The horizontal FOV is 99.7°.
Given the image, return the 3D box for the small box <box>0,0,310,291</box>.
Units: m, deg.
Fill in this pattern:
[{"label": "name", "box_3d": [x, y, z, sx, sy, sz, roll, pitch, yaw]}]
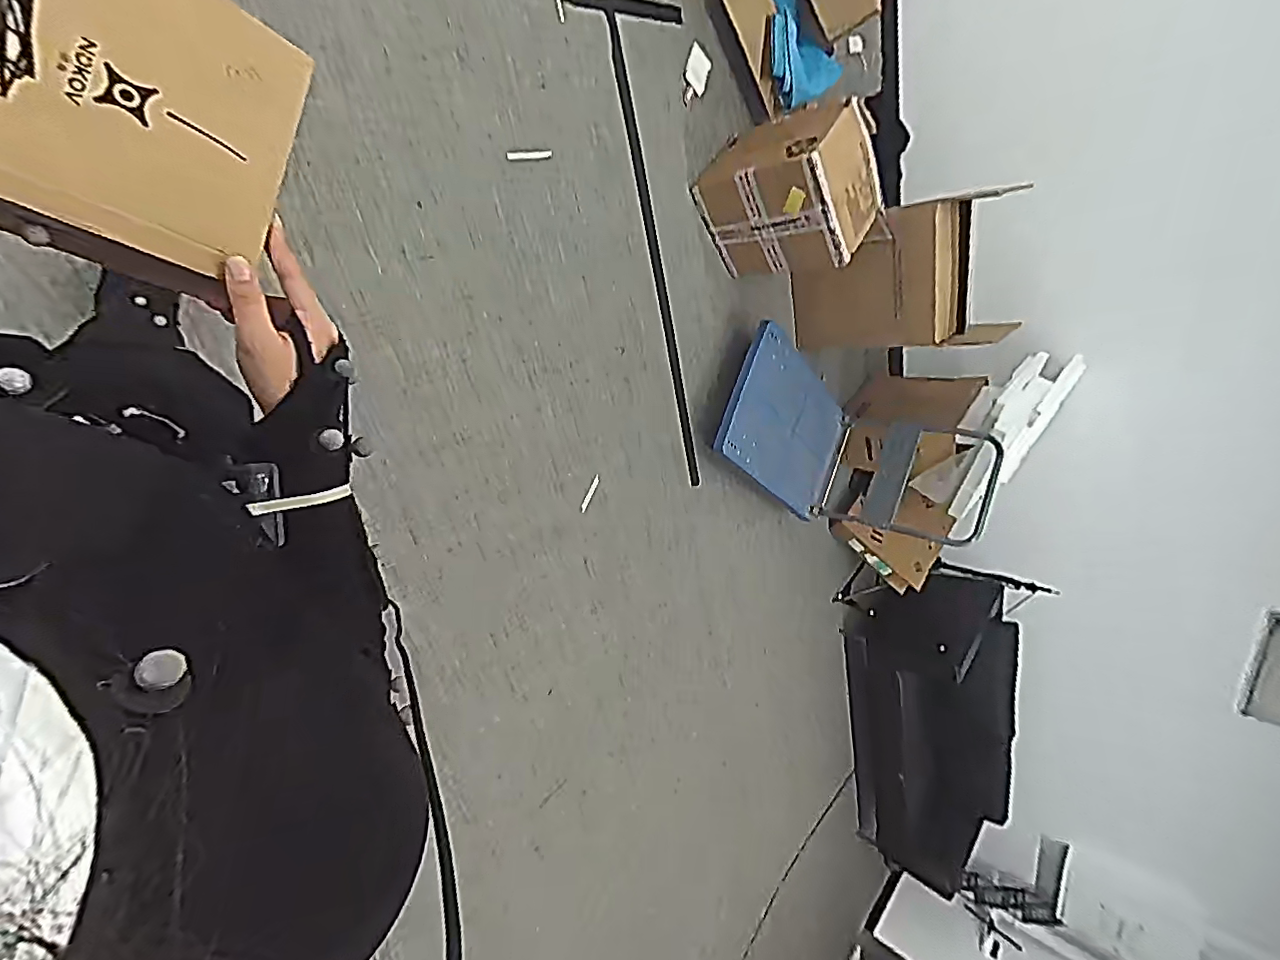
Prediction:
[{"label": "small box", "box_3d": [-0.359, -0.238, 0.360, 0.179, 0.176, 0.168, 16, 90, -47]}]
